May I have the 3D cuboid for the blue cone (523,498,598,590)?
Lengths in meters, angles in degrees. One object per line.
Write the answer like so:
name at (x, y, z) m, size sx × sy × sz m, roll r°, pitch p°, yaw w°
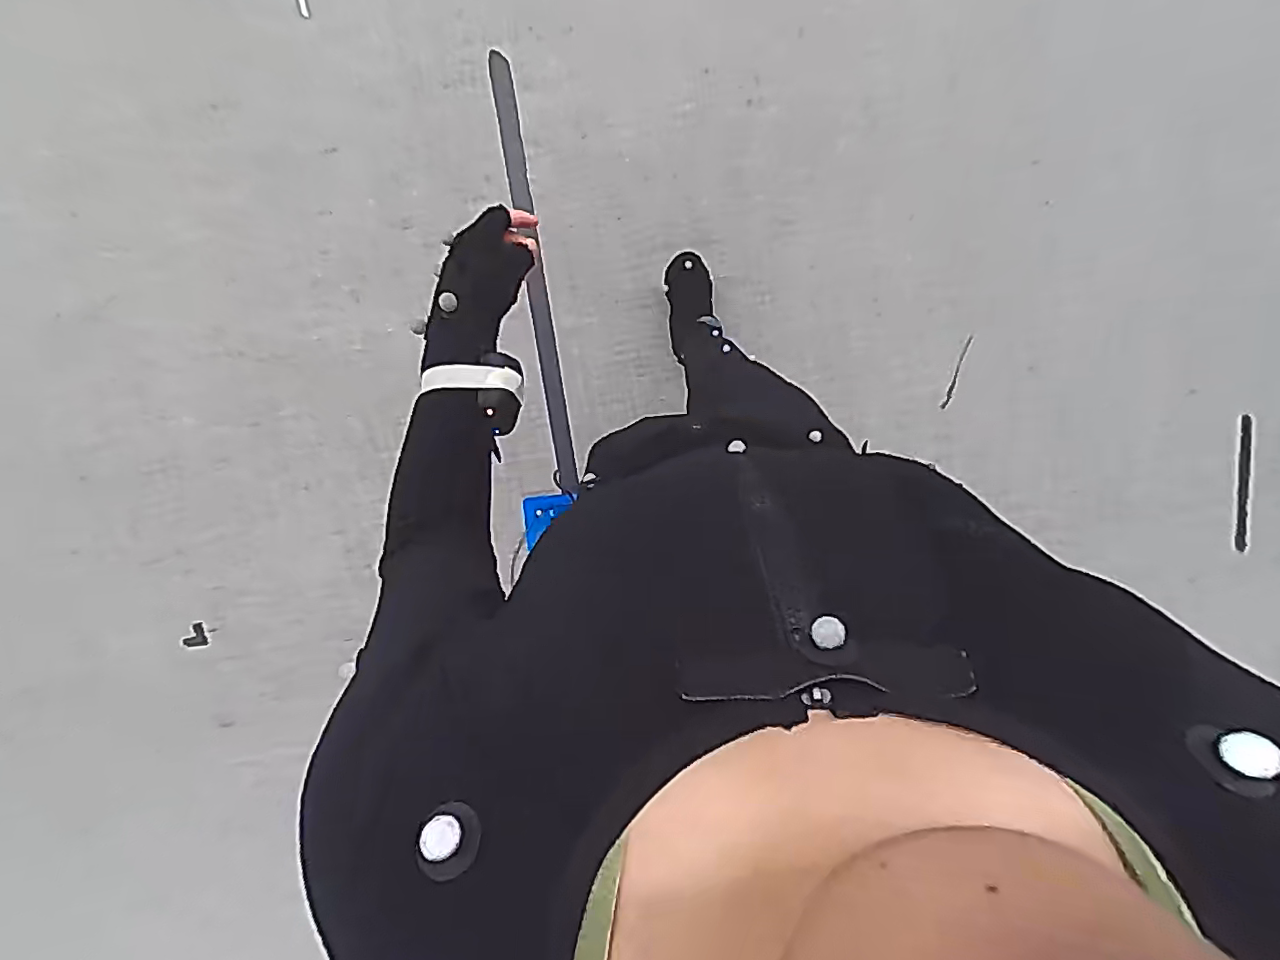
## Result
blue cone at (-0.212, 0.182, 1.306) m, size 0.193 × 0.380 × 0.192 m, roll -5°, pitch 103°, yaw 1°
